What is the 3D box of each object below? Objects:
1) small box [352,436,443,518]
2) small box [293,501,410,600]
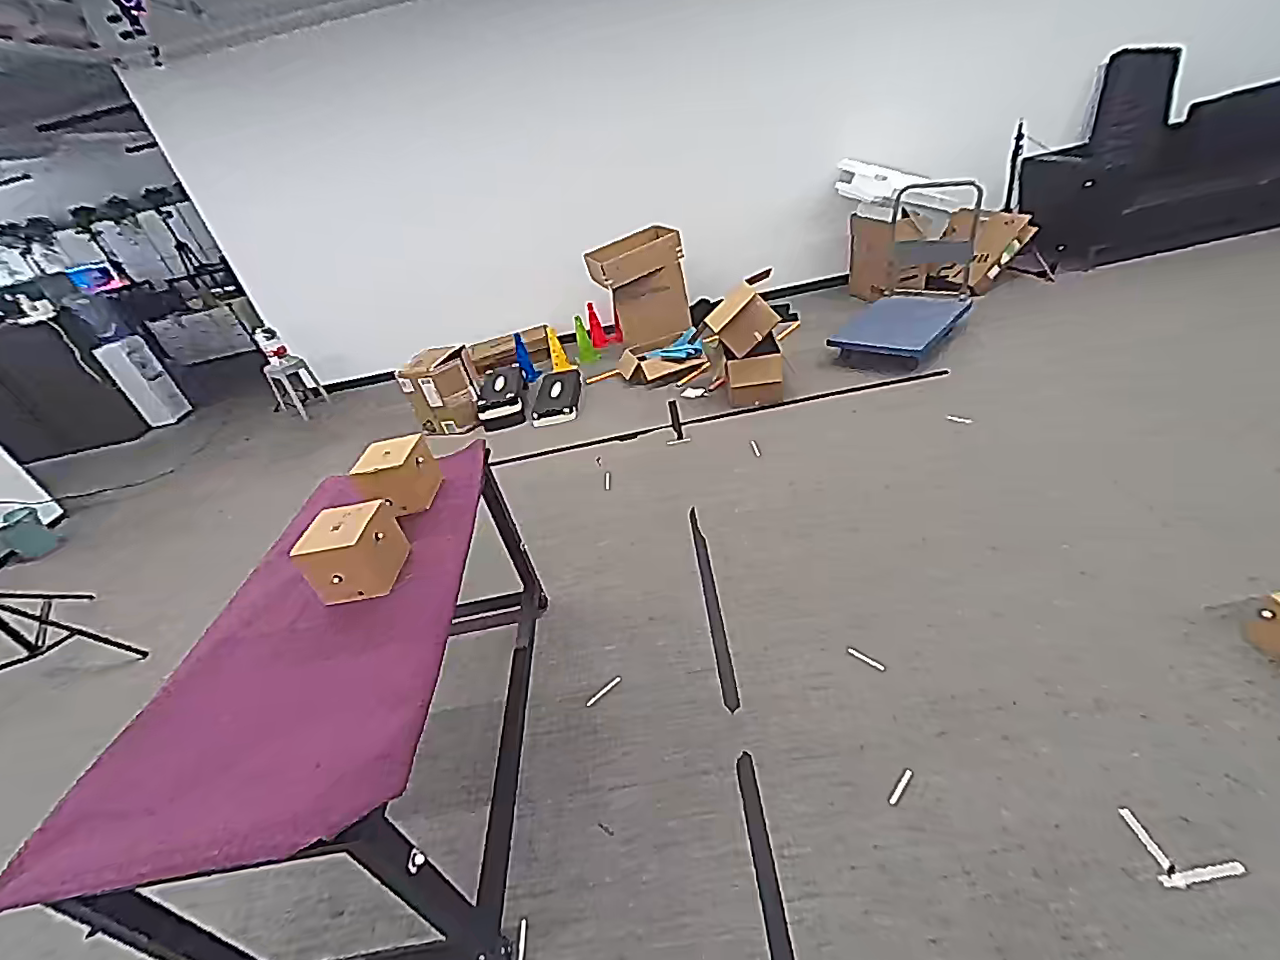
[{"bbox_3d":[-0.710,-0.006,1.610,0.168,0.176,0.179,-11,34,6],"label":"small box"},{"bbox_3d":[-0.696,0.179,1.330,0.168,0.176,0.179,-10,33,5],"label":"small box"}]
